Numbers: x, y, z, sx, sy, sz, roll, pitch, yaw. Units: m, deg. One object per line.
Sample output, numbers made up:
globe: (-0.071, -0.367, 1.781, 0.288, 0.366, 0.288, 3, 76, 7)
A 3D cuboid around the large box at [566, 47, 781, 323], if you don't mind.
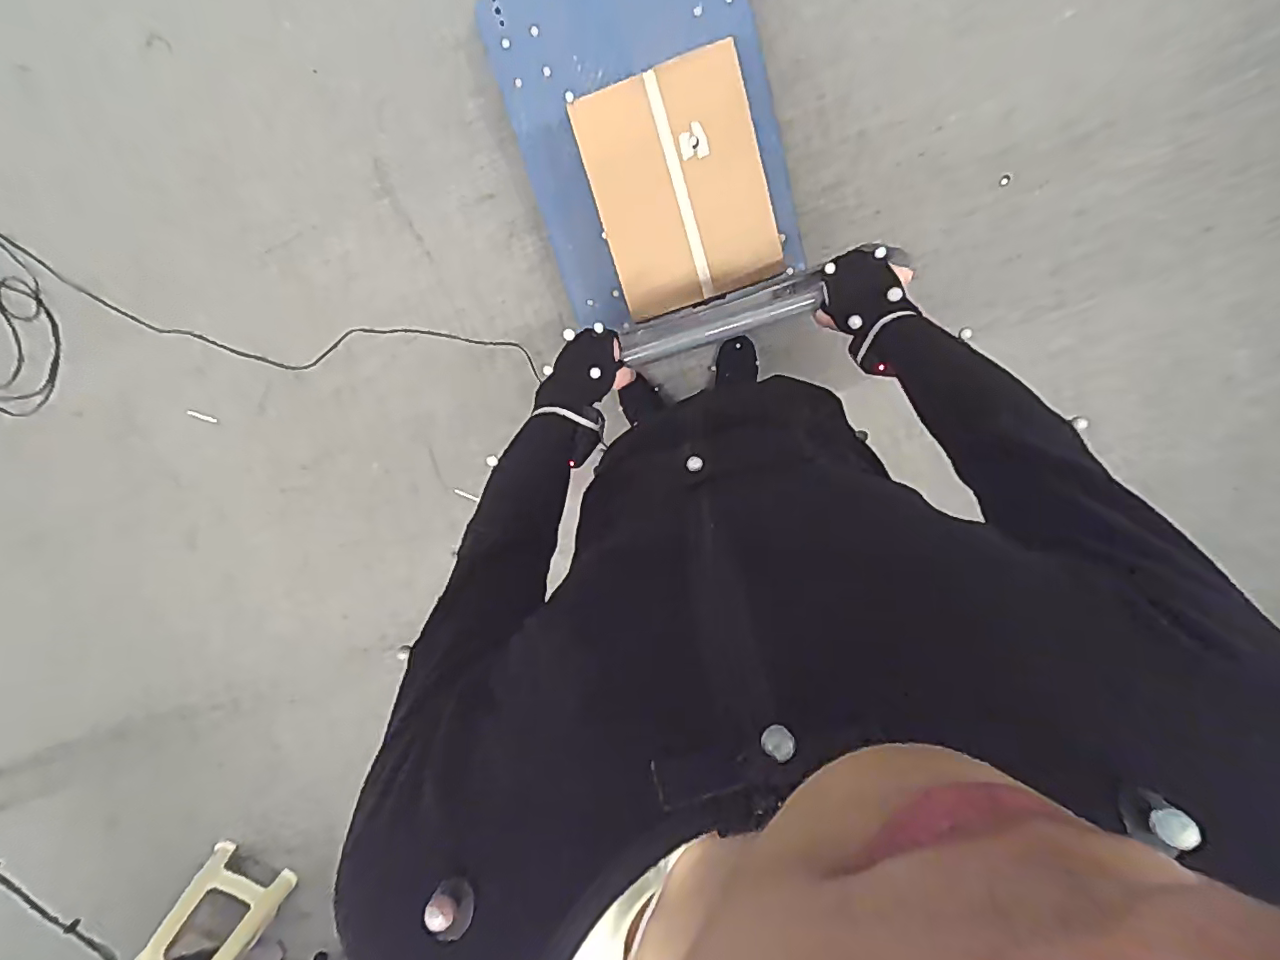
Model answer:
large box: (0.079, -0.582, 1.164, 0.320, 0.320, 0.408, -16, 104, 7)
